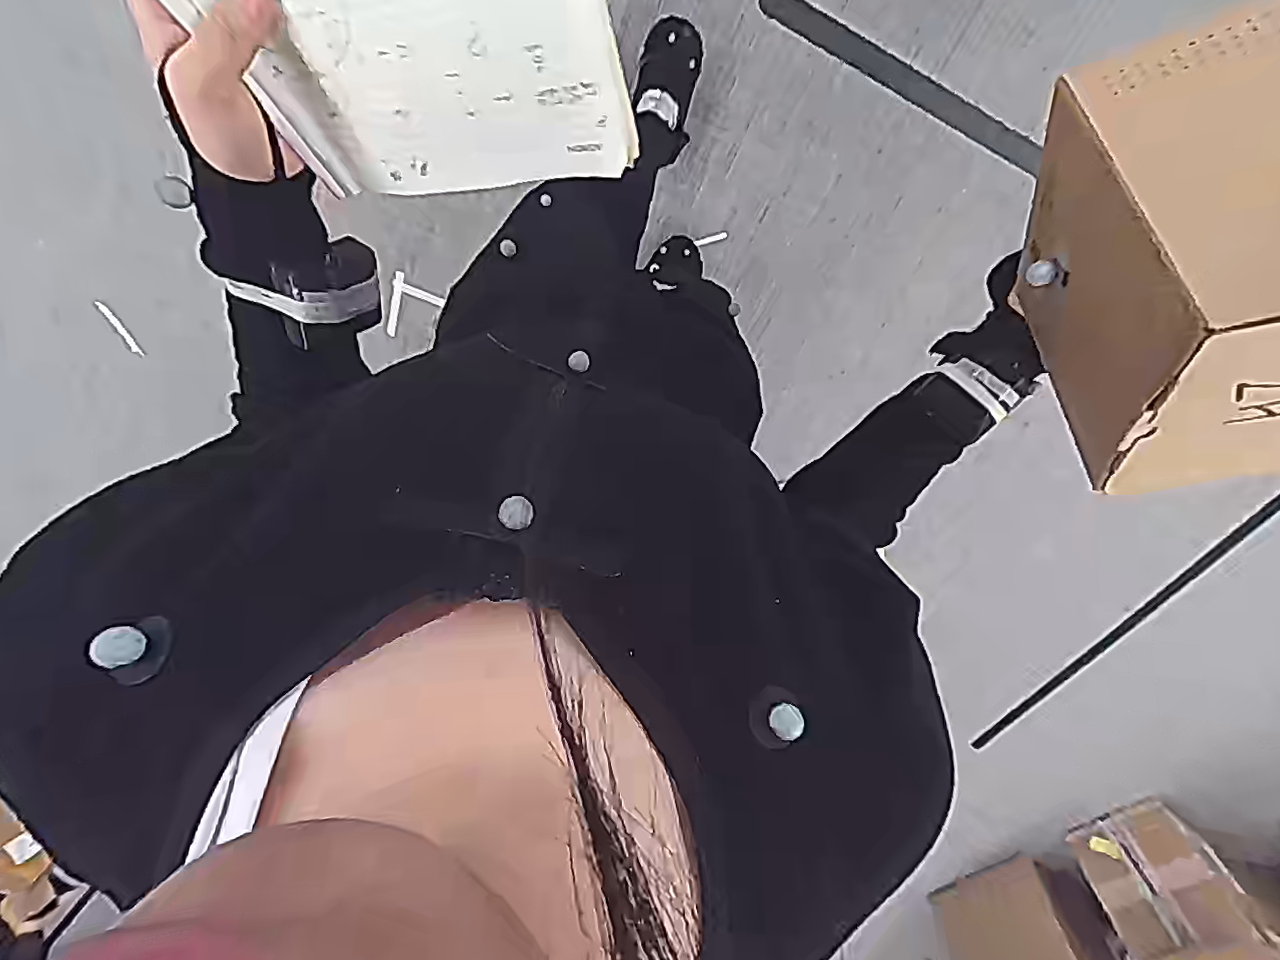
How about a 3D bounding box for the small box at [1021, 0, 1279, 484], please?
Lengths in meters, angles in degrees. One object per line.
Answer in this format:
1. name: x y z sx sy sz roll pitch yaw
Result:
1. small box: 0.323 -0.118 0.263 0.179 0.176 0.168 -11 152 23
